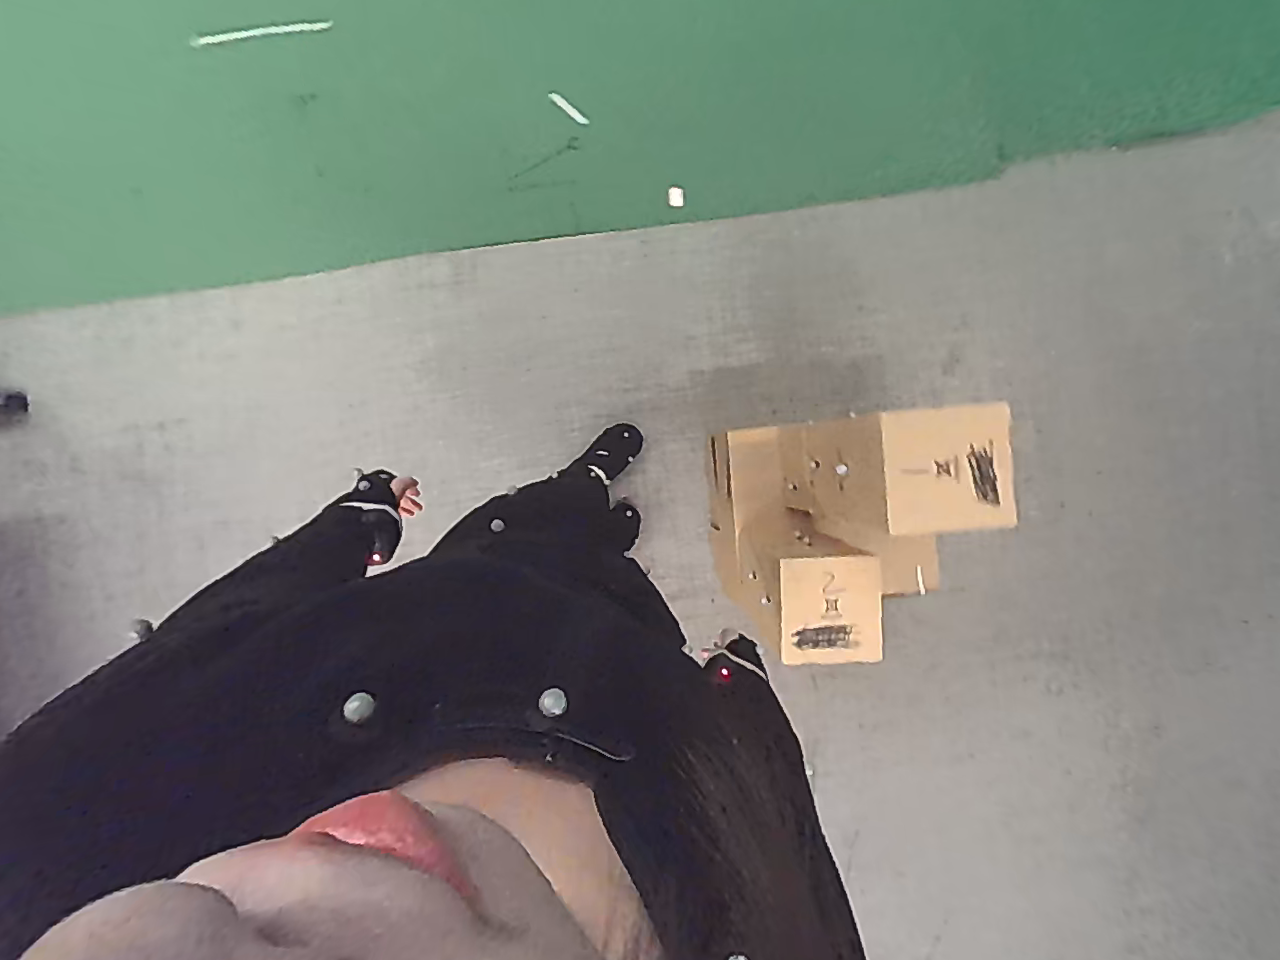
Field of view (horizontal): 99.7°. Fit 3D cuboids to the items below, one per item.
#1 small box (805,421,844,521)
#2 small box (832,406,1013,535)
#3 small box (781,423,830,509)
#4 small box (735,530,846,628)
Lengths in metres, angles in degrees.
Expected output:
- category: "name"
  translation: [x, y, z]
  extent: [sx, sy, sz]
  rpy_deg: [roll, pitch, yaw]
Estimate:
- category: "small box"
  translation: [0.407, -0.022, 0.952]
  extent: [0.179, 0.176, 0.168]
  rpy_deg: [-4, 92, -1]
- category: "small box"
  translation: [0.400, -0.016, 0.789]
  extent: [0.179, 0.176, 0.168]
  rpy_deg: [-4, 91, -1]
- category: "small box"
  translation: [0.397, -0.029, 1.116]
  extent: [0.179, 0.176, 0.168]
  rpy_deg: [-4, 91, -3]
- category: "small box"
  translation: [0.304, 0.197, 1.114]
  extent: [0.179, 0.176, 0.168]
  rpy_deg: [-2, 92, -3]
